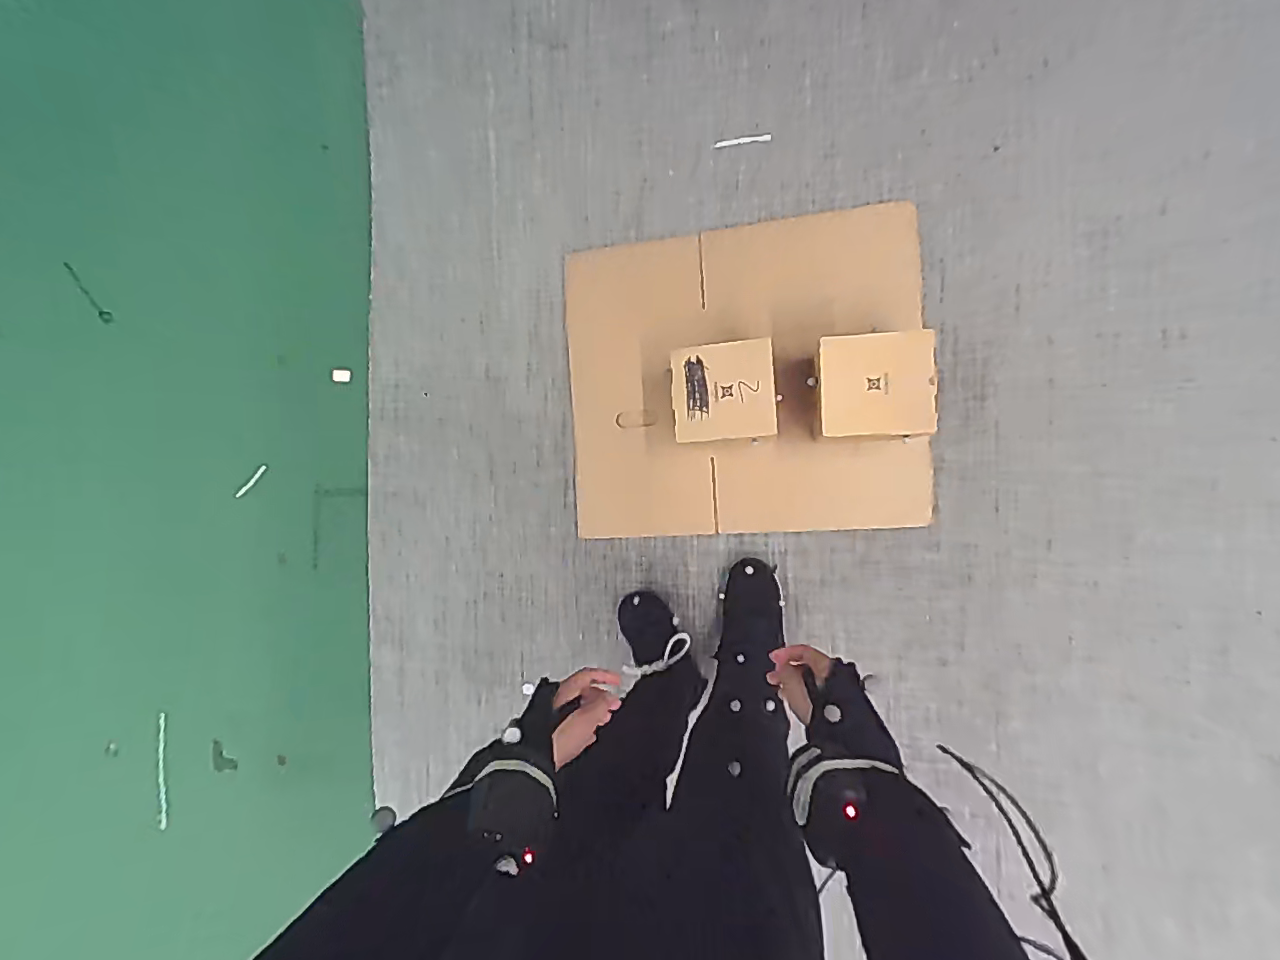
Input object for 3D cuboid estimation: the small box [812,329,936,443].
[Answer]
[{"bbox_3d":[0.396,-0.154,0.942,0.179,0.176,0.168,-2,90,13],"label":"small box"}]
